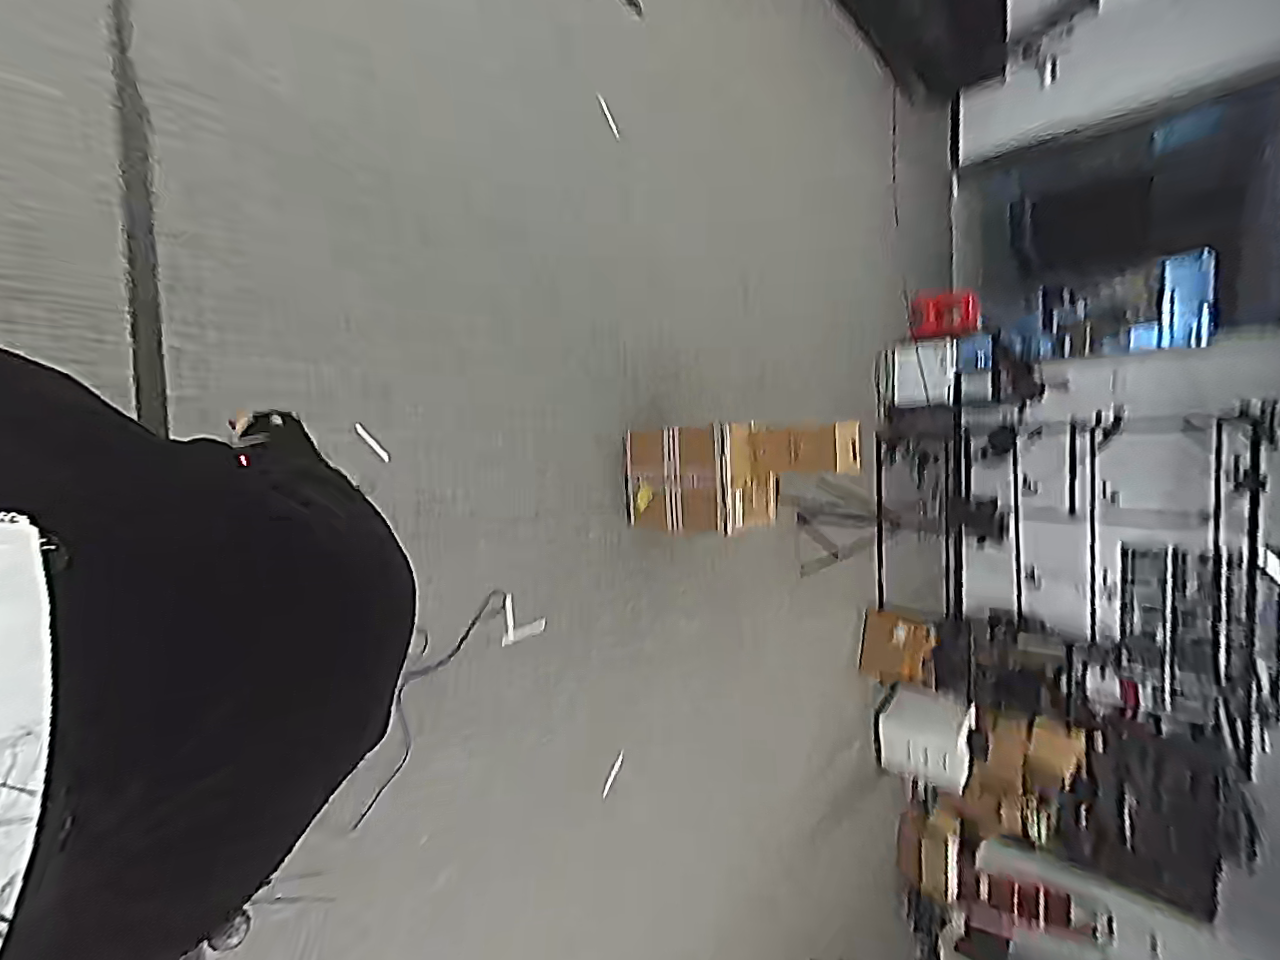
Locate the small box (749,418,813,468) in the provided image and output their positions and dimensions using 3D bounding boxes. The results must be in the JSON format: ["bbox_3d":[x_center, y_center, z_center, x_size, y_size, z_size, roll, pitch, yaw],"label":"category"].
[{"bbox_3d":[0.518,-0.136,1.977,0.179,0.176,0.168,-11,97,-44],"label":"small box"}]

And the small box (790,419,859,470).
[{"bbox_3d":[0.633,-0.121,1.859,0.179,0.176,0.168,-6,94,-44],"label":"small box"}]
